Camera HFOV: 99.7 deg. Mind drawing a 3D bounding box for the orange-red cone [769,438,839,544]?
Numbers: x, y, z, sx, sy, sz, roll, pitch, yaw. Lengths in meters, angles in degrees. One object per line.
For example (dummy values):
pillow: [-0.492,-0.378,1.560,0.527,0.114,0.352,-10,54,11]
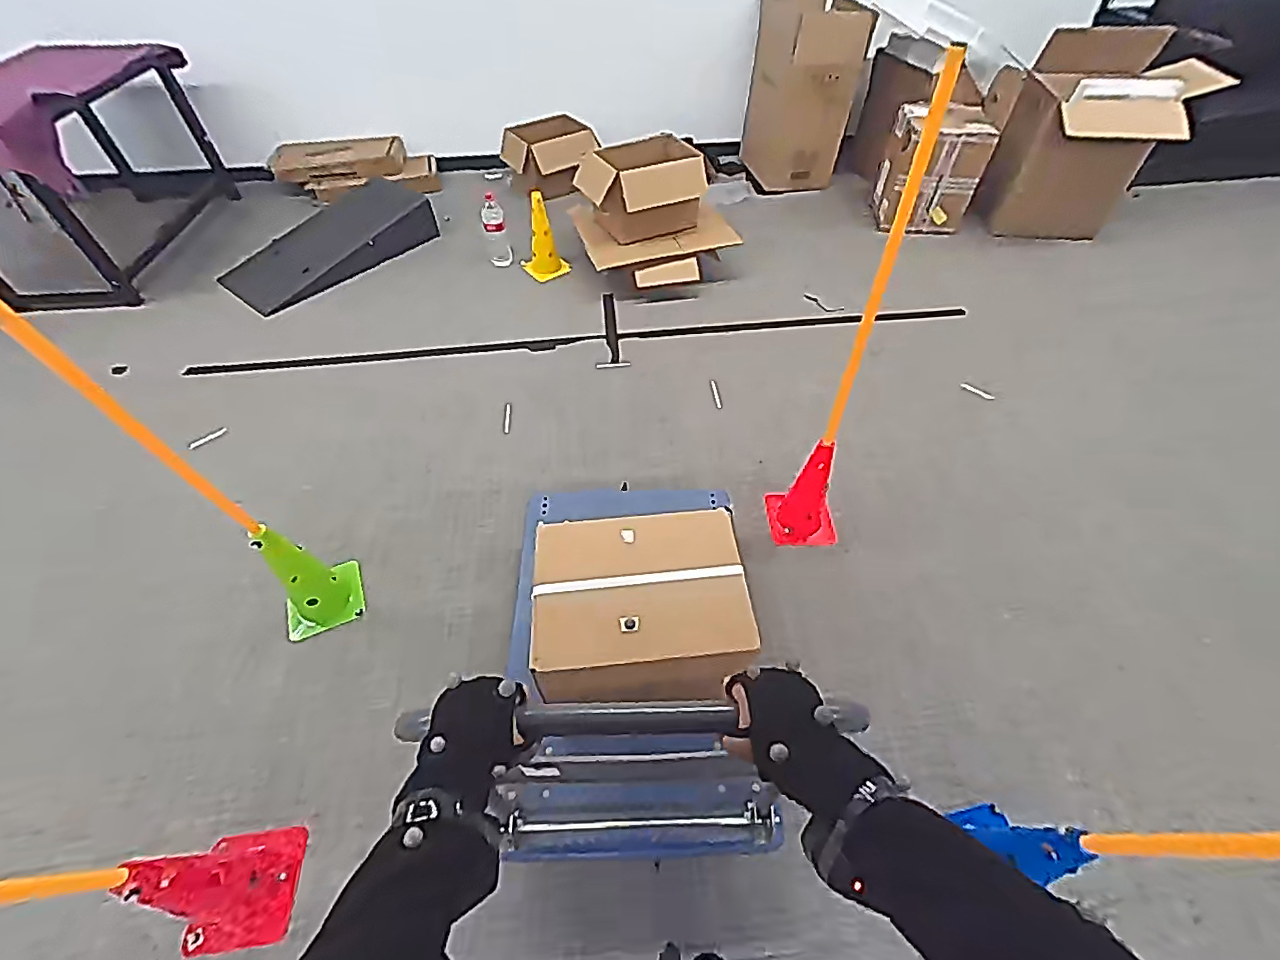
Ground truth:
orange-red cone: [0.513,0.011,1.575,0.199,0.360,0.198,1,51,0]
